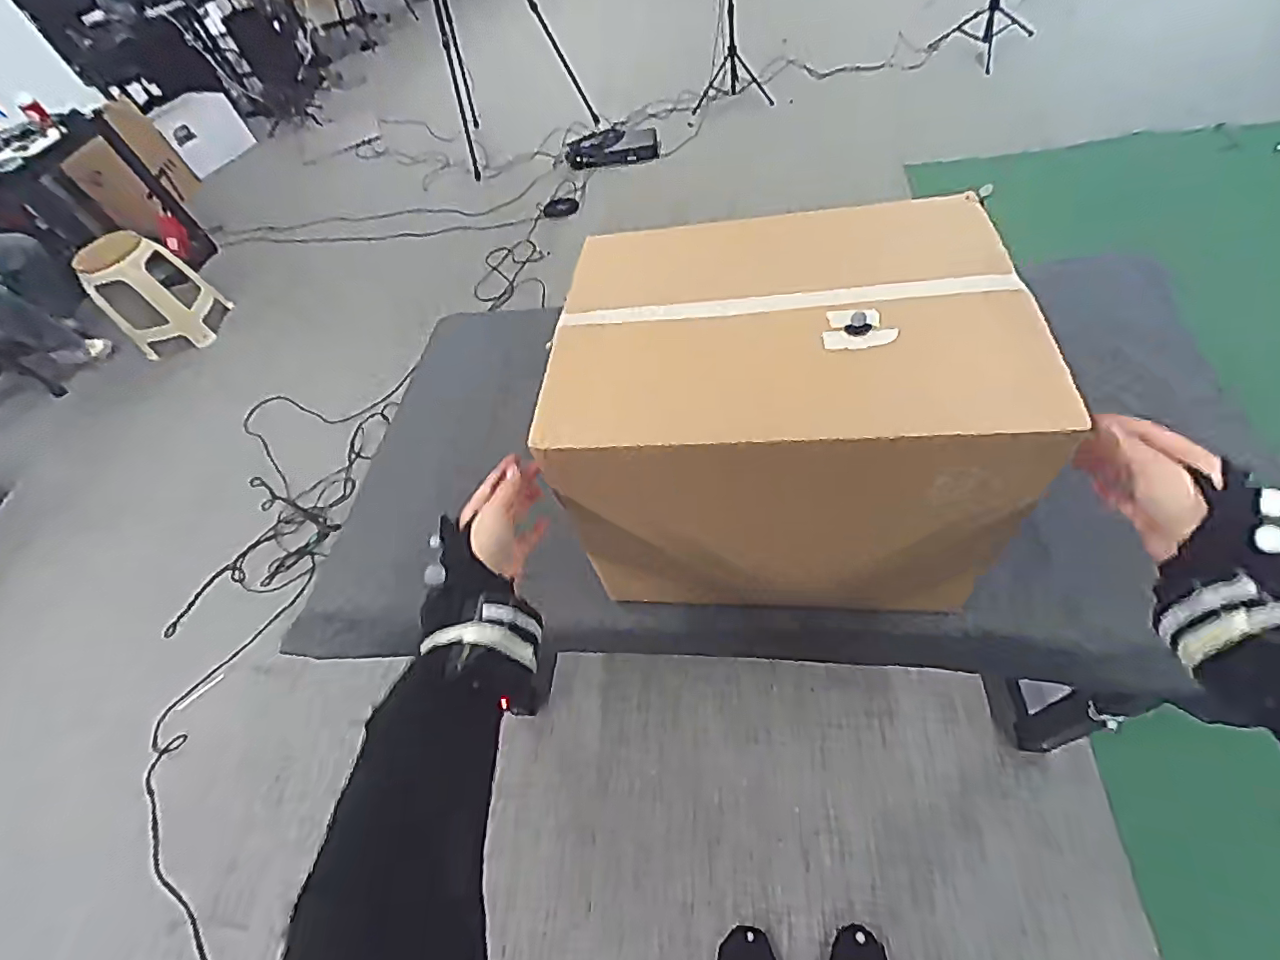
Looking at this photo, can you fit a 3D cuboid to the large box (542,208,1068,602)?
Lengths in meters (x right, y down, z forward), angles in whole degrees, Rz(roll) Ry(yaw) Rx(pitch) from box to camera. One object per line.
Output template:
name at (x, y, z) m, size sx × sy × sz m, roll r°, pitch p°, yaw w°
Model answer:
large box at (0.146, -0.065, 0.620) m, size 0.408 × 0.320 × 0.320 m, roll -1°, pitch 54°, yaw 11°
